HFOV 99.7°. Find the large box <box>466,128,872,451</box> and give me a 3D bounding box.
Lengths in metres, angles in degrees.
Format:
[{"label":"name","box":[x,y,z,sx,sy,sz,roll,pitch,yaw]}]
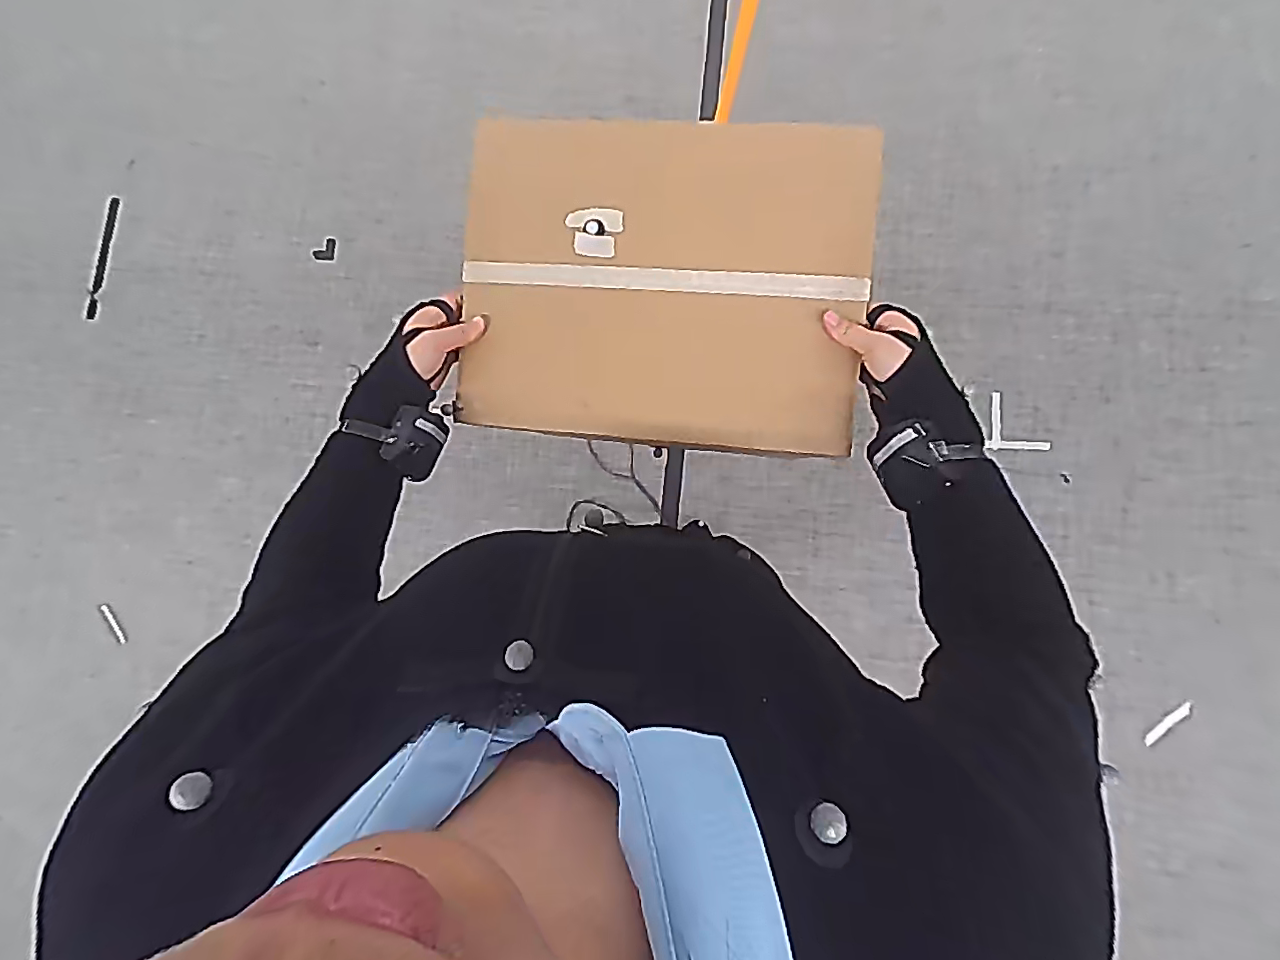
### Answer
[{"label":"large box","box":[0.041,-0.203,0.695,0.408,0.320,0.320,5,91,8]}]
